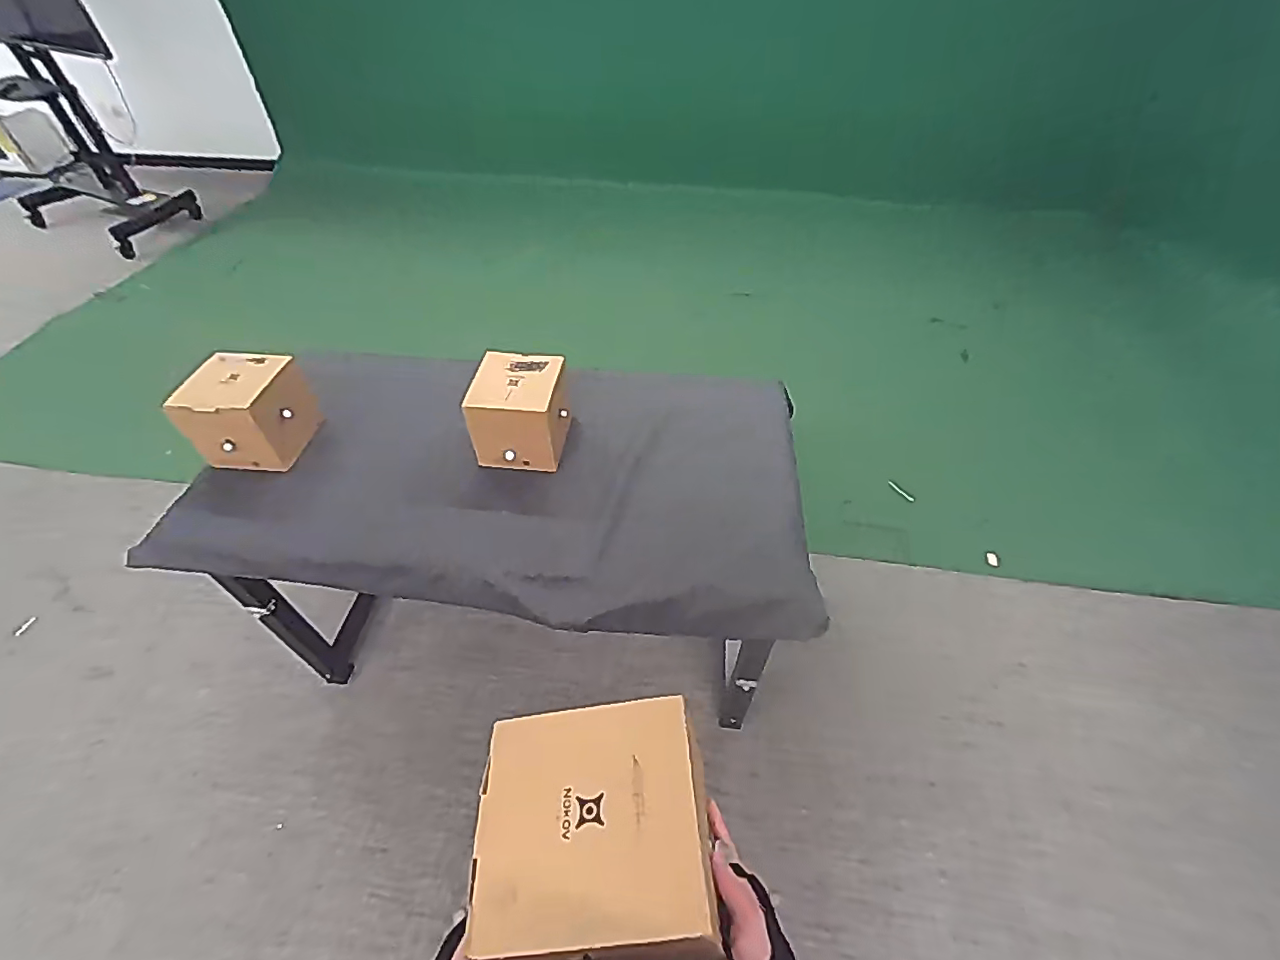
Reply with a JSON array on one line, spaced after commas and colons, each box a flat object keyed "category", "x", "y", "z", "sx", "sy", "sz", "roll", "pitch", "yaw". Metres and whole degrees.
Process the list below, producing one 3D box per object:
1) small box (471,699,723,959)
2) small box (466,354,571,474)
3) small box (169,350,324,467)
[{"category": "small box", "x": -0.027, "y": 0.323, "z": 0.488, "sx": 0.179, "sy": 0.176, "sz": 0.168, "roll": -9, "pitch": 44, "yaw": 3}, {"category": "small box", "x": -0.242, "y": -0.136, "z": 1.127, "sx": 0.168, "sy": 0.176, "sz": 0.179, "roll": 5, "pitch": 49, "yaw": 3}, {"category": "small box", "x": -0.794, "y": -0.145, "z": 1.118, "sx": 0.168, "sy": 0.176, "sz": 0.179, "roll": 4, "pitch": 49, "yaw": 1}]
